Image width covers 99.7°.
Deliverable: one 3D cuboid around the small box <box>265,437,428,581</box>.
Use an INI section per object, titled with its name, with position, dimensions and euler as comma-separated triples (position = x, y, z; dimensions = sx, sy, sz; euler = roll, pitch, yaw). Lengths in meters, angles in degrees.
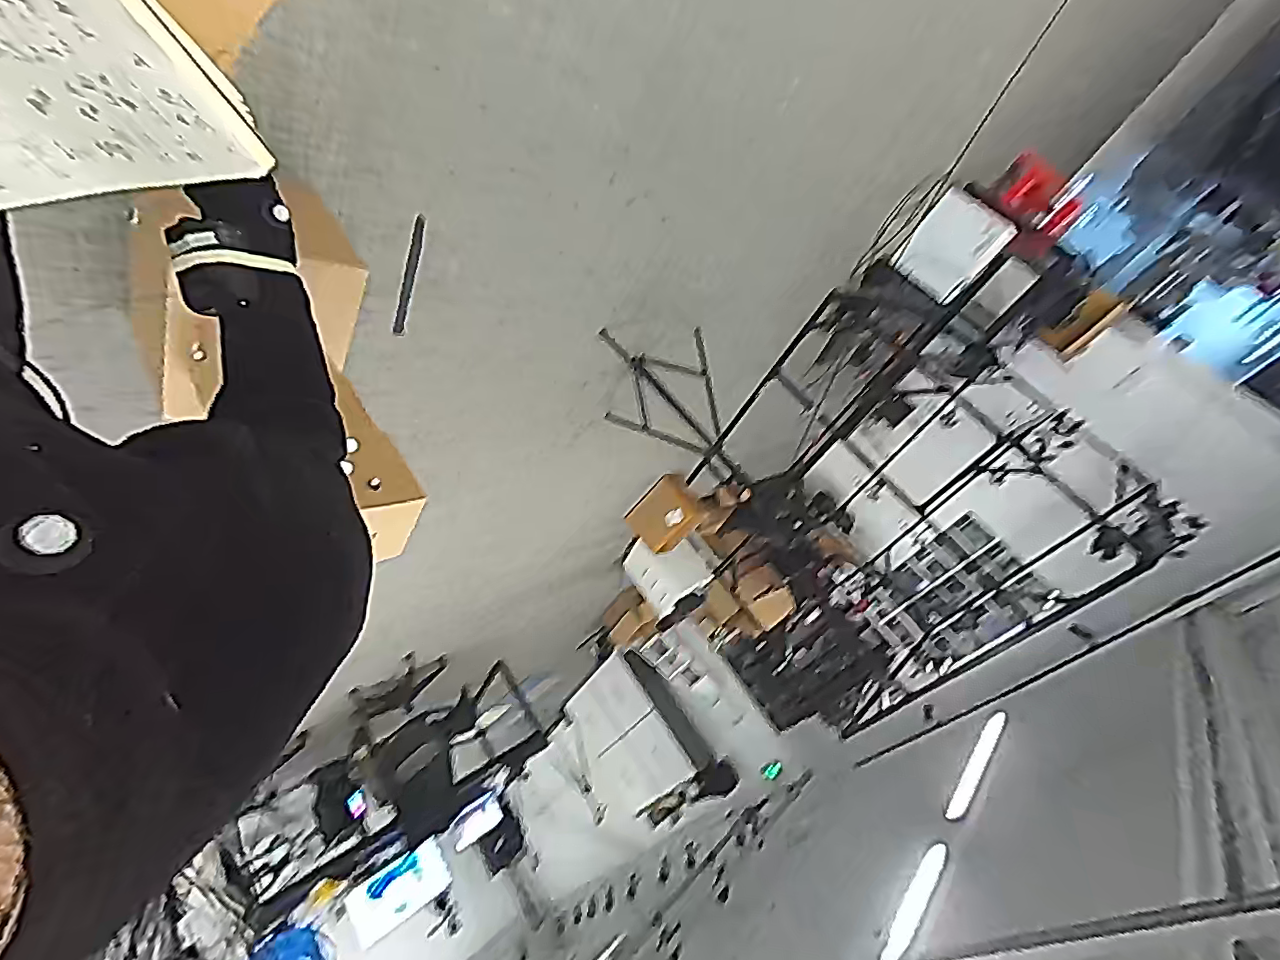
[small box]
position = -0.504, 0.040, 0.927
dimensions = 0.179, 0.176, 0.168
euler = -10, 144, -51
